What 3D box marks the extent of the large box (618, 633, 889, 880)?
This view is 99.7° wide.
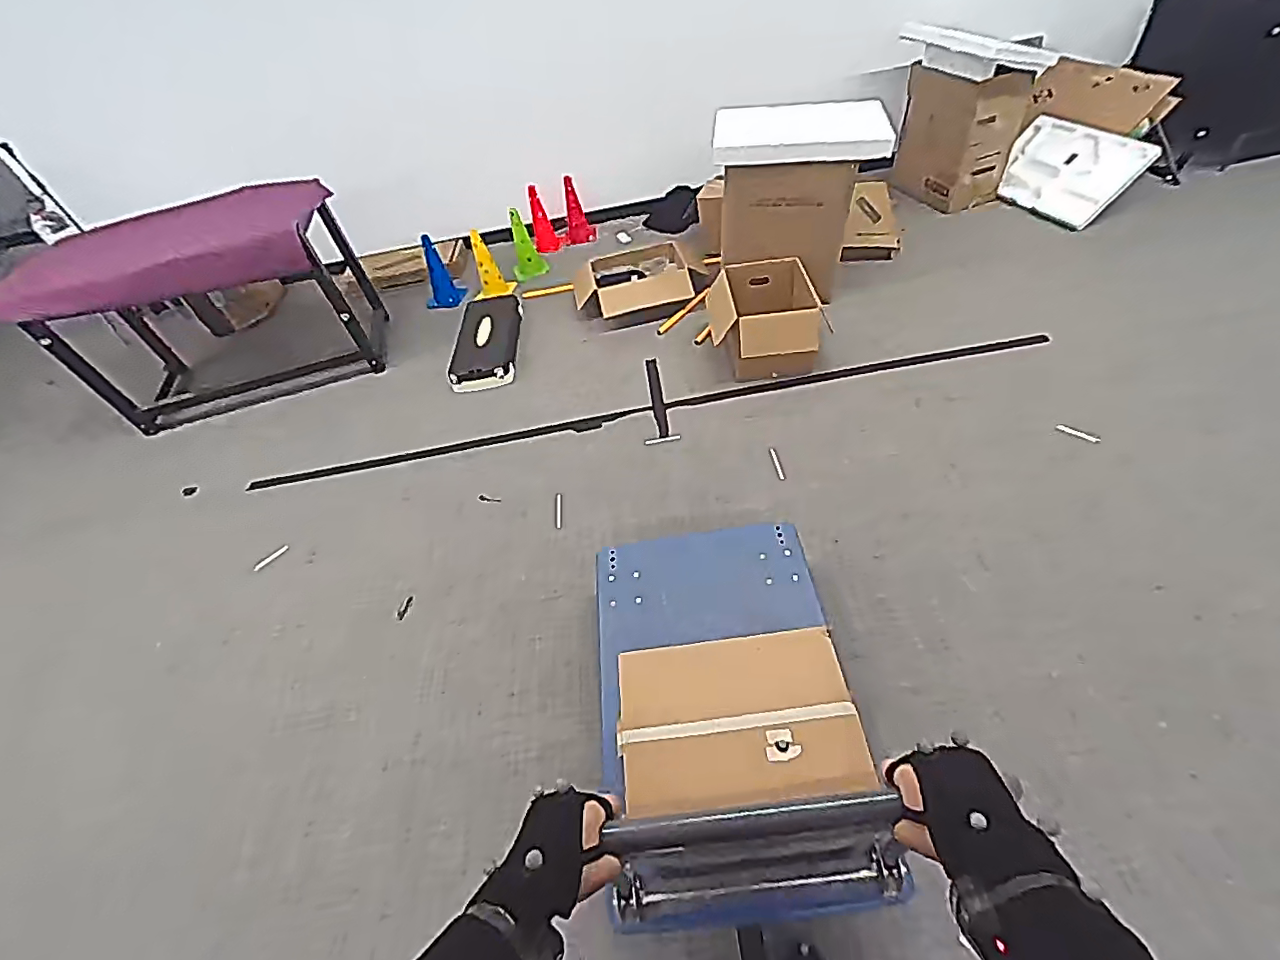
[{"bbox_3d":[0.185,0.527,1.025,0.408,0.320,0.320,-8,48,2],"label":"large box"}]
